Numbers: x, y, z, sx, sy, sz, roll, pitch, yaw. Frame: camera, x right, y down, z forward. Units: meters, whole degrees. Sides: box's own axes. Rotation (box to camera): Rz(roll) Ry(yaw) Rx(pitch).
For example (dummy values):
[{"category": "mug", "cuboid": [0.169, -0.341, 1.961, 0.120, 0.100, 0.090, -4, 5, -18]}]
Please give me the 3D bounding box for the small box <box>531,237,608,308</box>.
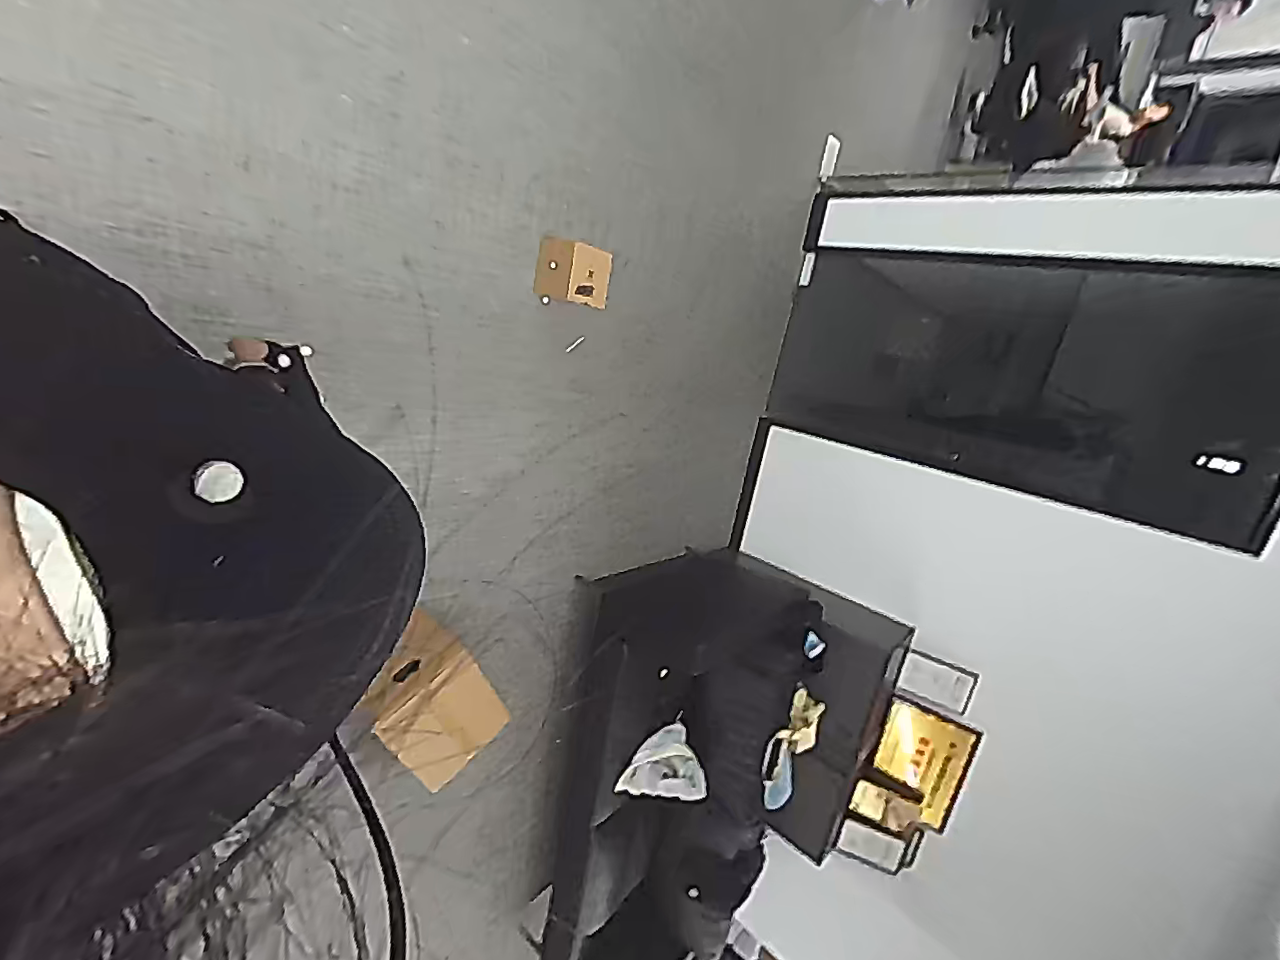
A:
[{"category": "small box", "cuboid": [-0.234, -0.673, 1.754, 0.168, 0.176, 0.179, -4, 111, -50]}]
